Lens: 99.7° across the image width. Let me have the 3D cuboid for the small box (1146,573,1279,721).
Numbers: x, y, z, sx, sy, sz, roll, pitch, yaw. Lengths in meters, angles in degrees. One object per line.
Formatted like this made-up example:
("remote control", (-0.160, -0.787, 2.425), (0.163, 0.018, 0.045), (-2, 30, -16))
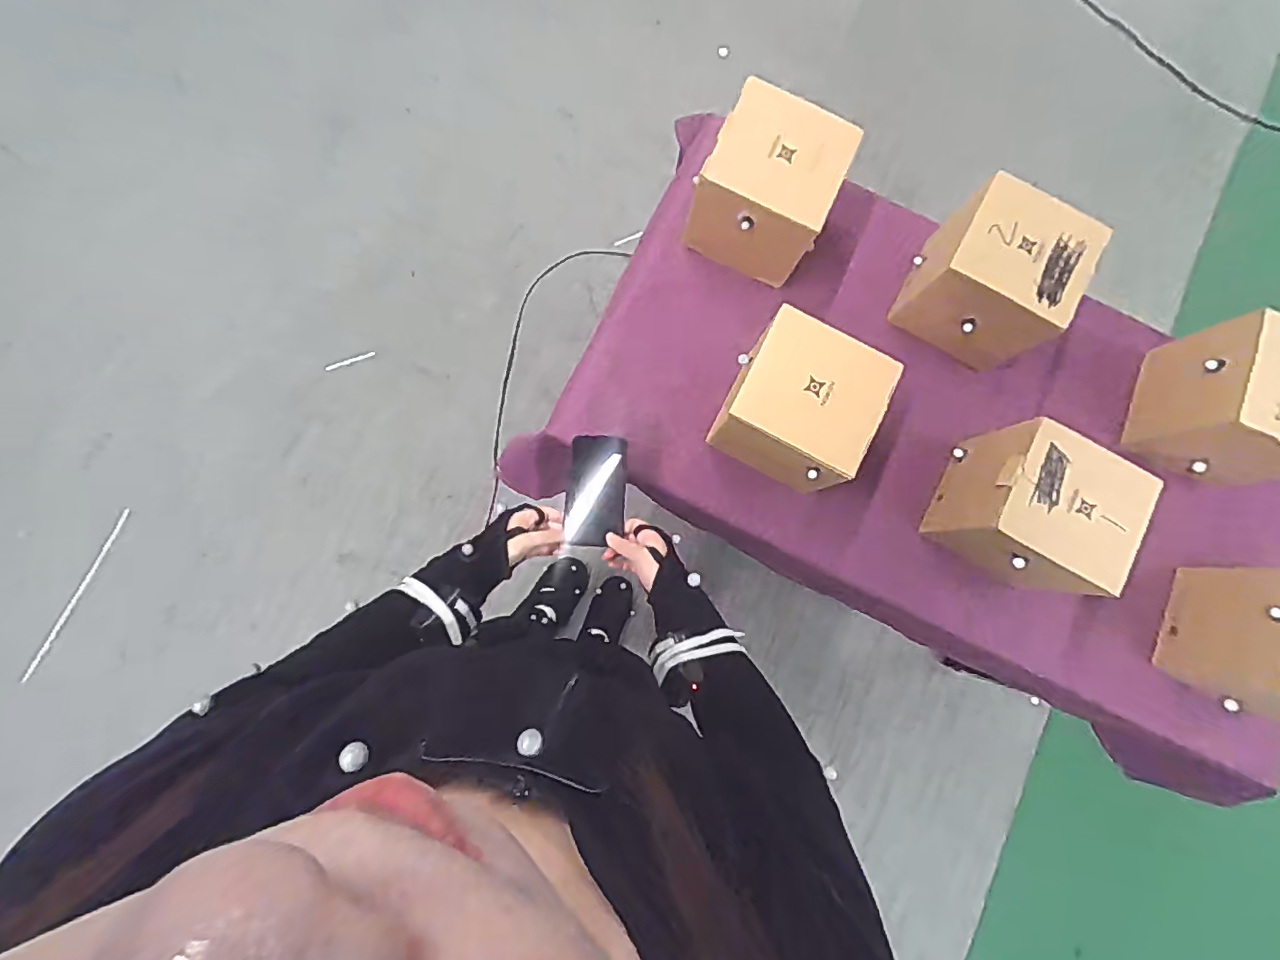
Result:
("small box", (0.878, 0.235, 0.749), (0.179, 0.176, 0.168), (26, 81, 0))

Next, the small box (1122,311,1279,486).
("small box", (0.870, -0.108, 0.794), (0.168, 0.176, 0.179), (24, 82, 0))

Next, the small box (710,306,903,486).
("small box", (0.217, -0.103, 0.755), (0.179, 0.176, 0.168), (28, 81, -1))

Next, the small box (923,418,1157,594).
("small box", (0.539, 0.042, 0.755), (0.179, 0.176, 0.168), (30, 82, 0))
